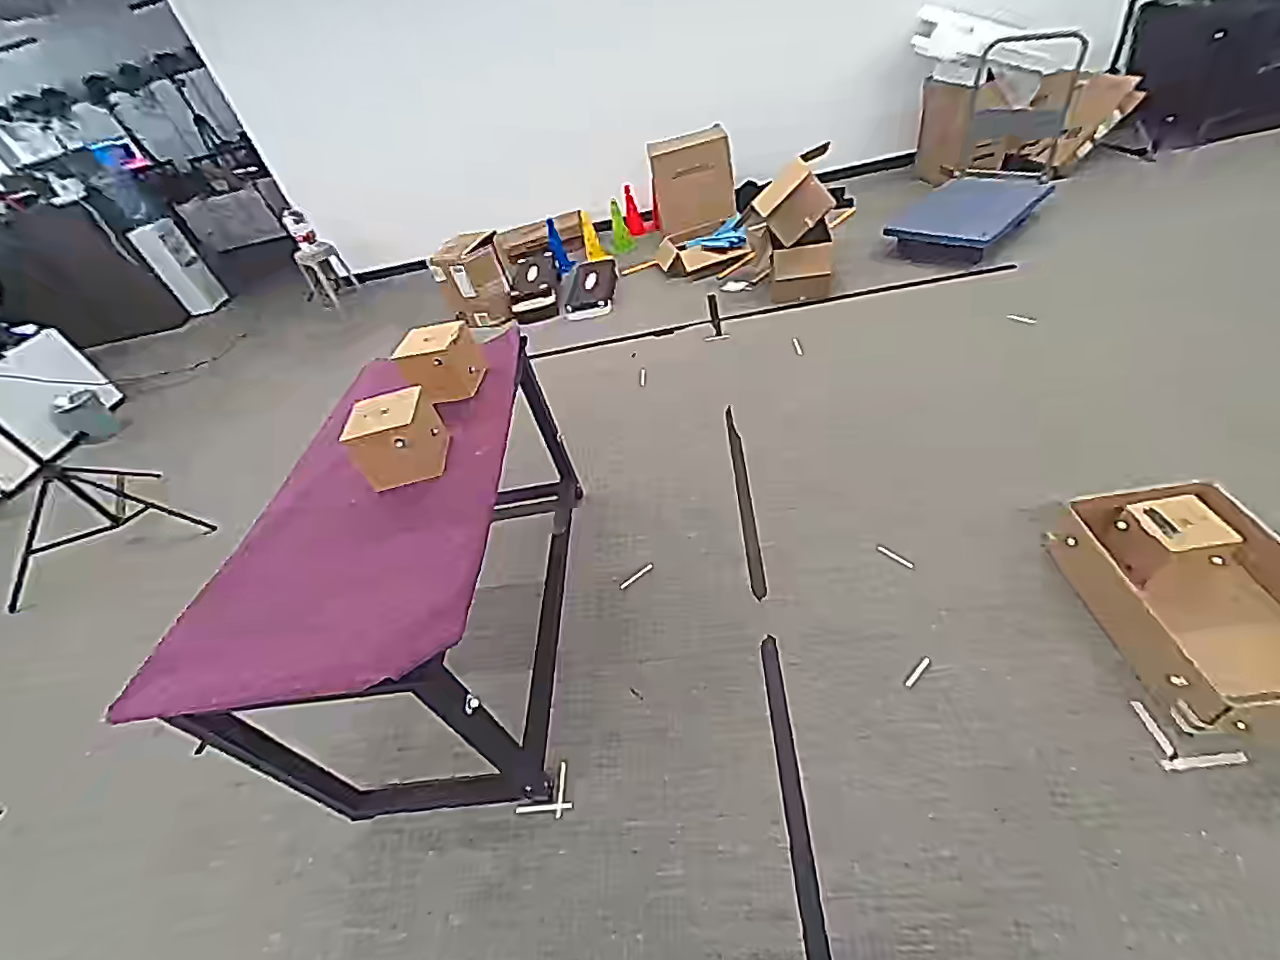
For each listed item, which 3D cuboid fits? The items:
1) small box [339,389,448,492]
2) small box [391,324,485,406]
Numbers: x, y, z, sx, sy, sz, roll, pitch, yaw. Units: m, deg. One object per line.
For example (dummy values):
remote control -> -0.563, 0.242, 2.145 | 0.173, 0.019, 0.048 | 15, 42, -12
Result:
small box -> -0.600, -0.095, 1.345 | 0.179, 0.176, 0.168 | -15, 42, 2
small box -> -0.588, -0.334, 1.595 | 0.179, 0.176, 0.168 | -7, 43, 12
